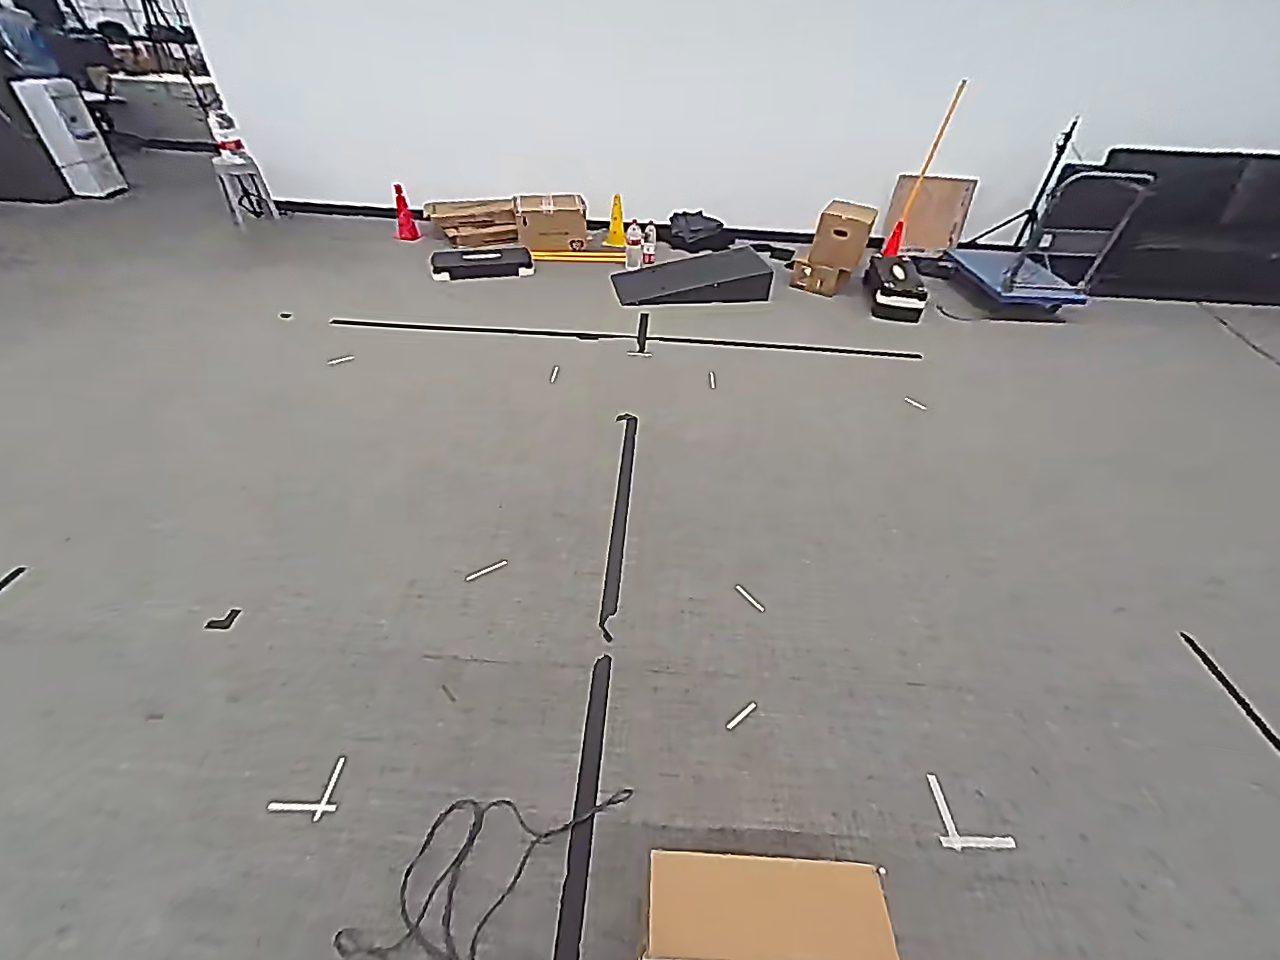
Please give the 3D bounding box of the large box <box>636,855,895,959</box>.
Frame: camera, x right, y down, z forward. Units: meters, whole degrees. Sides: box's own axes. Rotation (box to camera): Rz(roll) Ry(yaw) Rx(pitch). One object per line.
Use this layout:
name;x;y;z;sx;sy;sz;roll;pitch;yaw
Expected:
large box;0.199;0.887;0.935;0.408;0.320;0.320;4;41;-1
